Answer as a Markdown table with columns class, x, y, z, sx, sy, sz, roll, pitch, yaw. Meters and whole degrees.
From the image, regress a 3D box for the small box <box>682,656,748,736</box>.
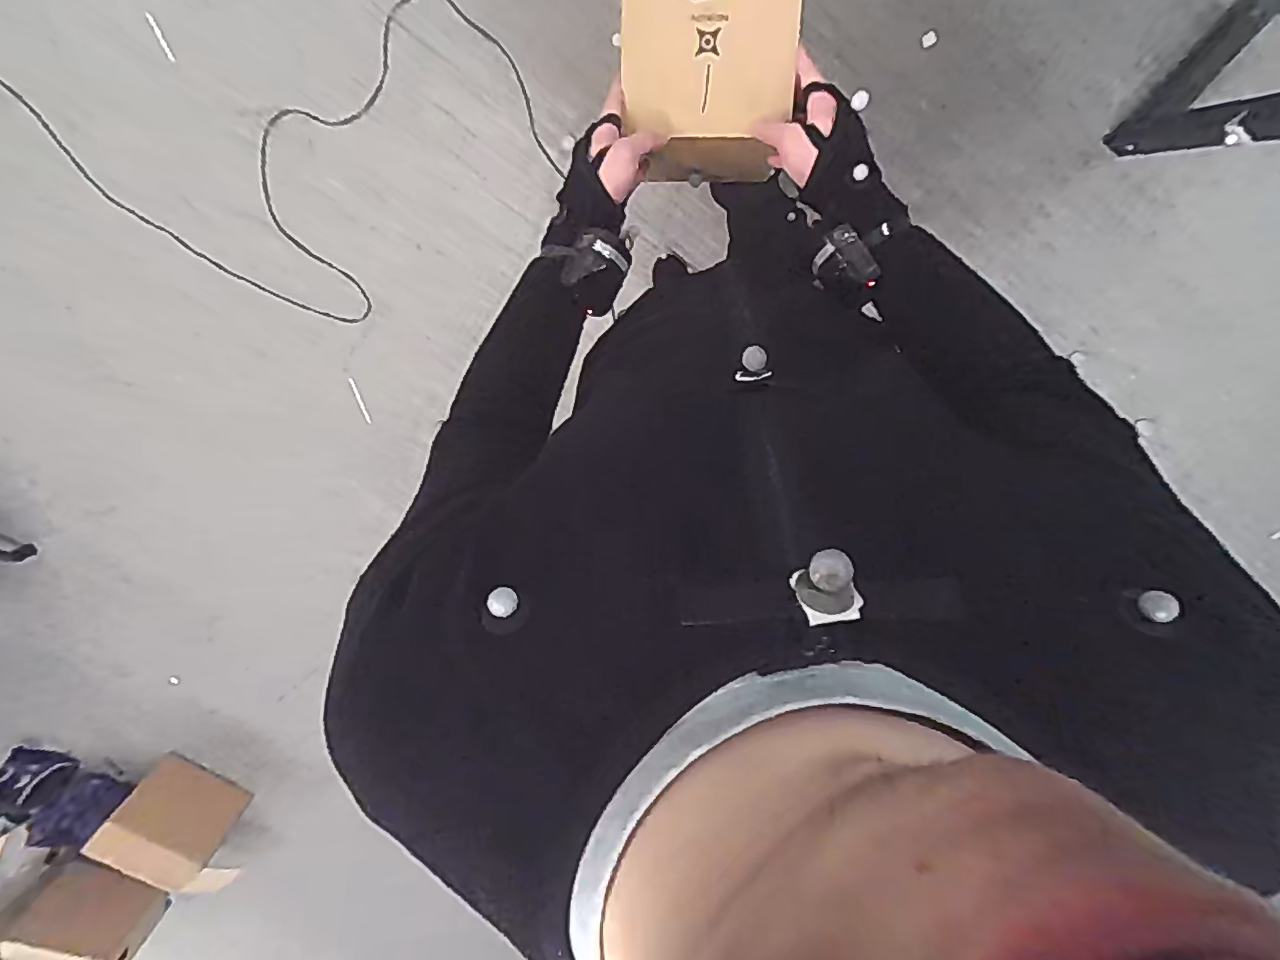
| class | x | y | z | sx | sy | sz | roll | pitch | yaw |
| --- | --- | --- | --- | --- | --- | --- | --- | --- | --- |
| small box | 0.258 | 0.764 | 1.925 | 0.168 | 0.176 | 0.179 | 32 | 113 | -13 |

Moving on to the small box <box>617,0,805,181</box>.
| class | x | y | z | sx | sy | sz | roll | pitch | yaw |
| --- | --- | --- | --- | --- | --- | --- | --- | --- | --- |
| small box | 0.068 | -0.430 | 0.558 | 0.168 | 0.176 | 0.179 | 3 | 106 | 4 |
